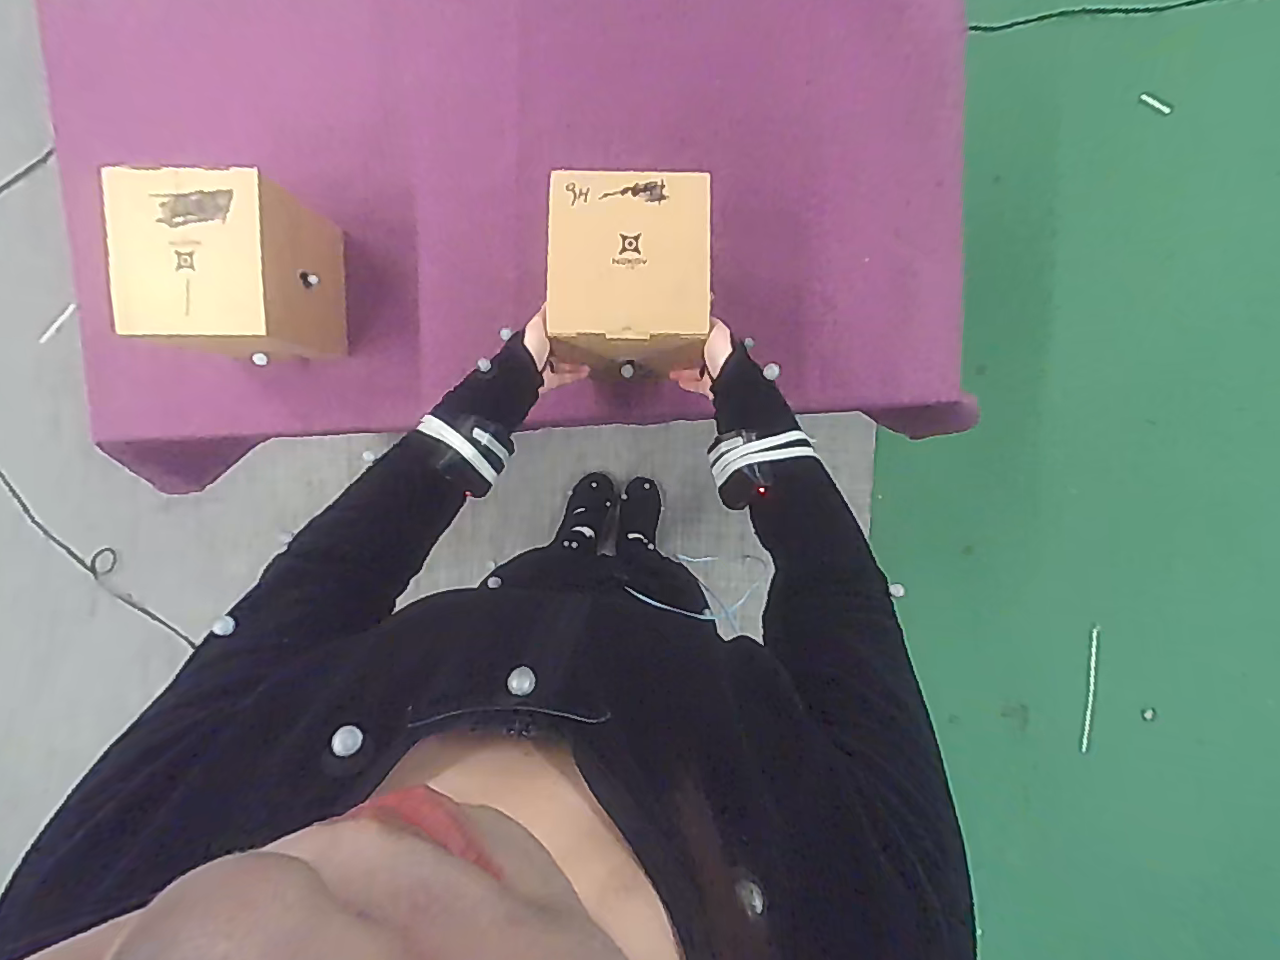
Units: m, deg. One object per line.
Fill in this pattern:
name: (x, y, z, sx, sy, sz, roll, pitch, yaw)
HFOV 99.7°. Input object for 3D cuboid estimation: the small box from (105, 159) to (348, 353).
small box: (-0.477, -0.255, 0.651, 0.168, 0.176, 0.179, 0, 96, 0)

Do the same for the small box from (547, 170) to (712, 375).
small box: (-0.010, -0.225, 0.629, 0.168, 0.176, 0.179, 1, 87, -1)
